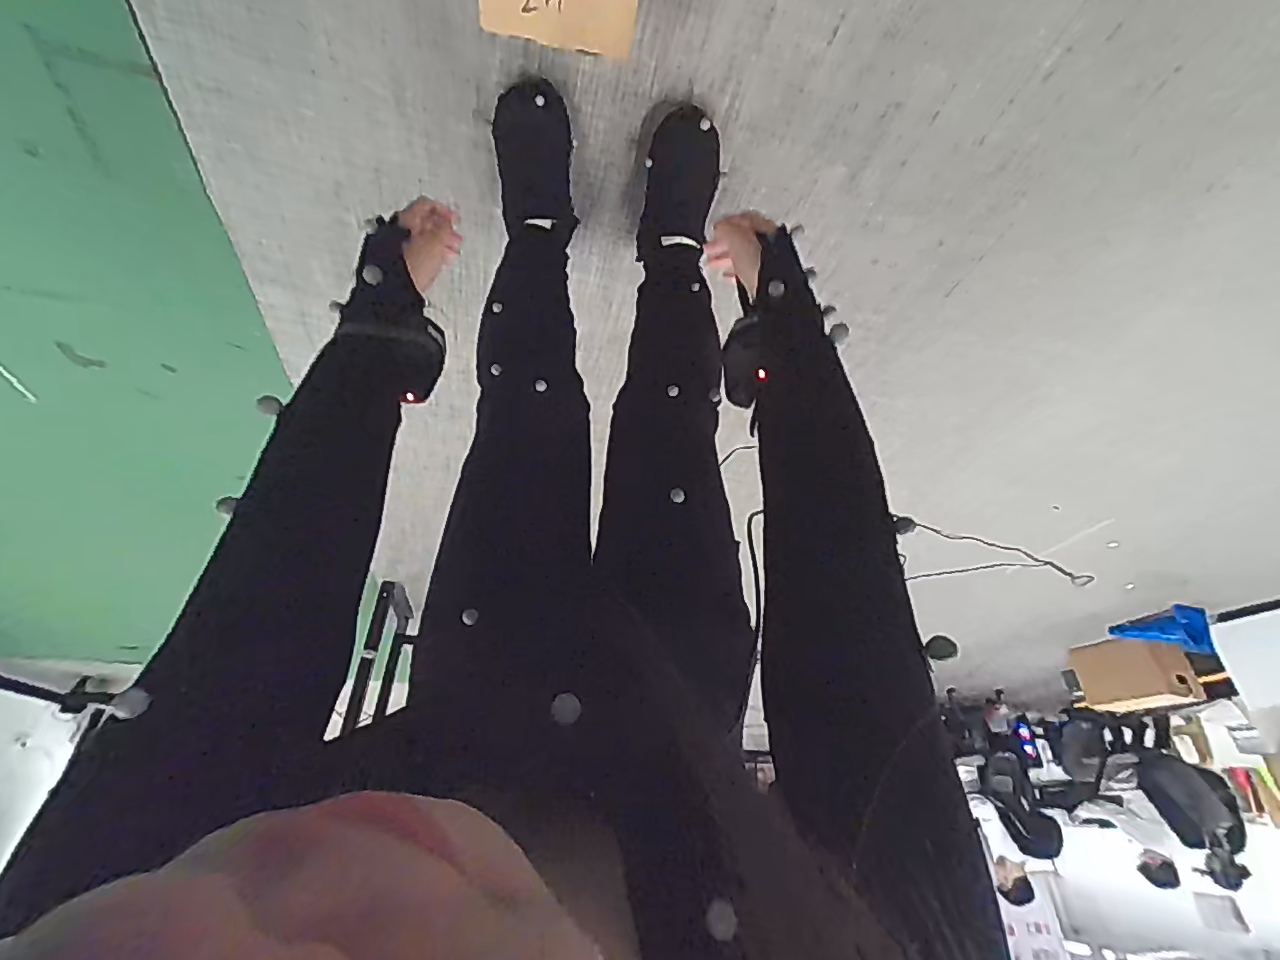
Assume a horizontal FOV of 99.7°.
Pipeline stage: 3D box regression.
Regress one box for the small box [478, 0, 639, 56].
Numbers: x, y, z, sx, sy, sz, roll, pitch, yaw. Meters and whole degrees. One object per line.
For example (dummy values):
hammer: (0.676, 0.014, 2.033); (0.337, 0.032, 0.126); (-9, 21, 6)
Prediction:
small box: (-0.074, -0.590, 0.557); (0.168, 0.176, 0.179); (7, 147, -9)
